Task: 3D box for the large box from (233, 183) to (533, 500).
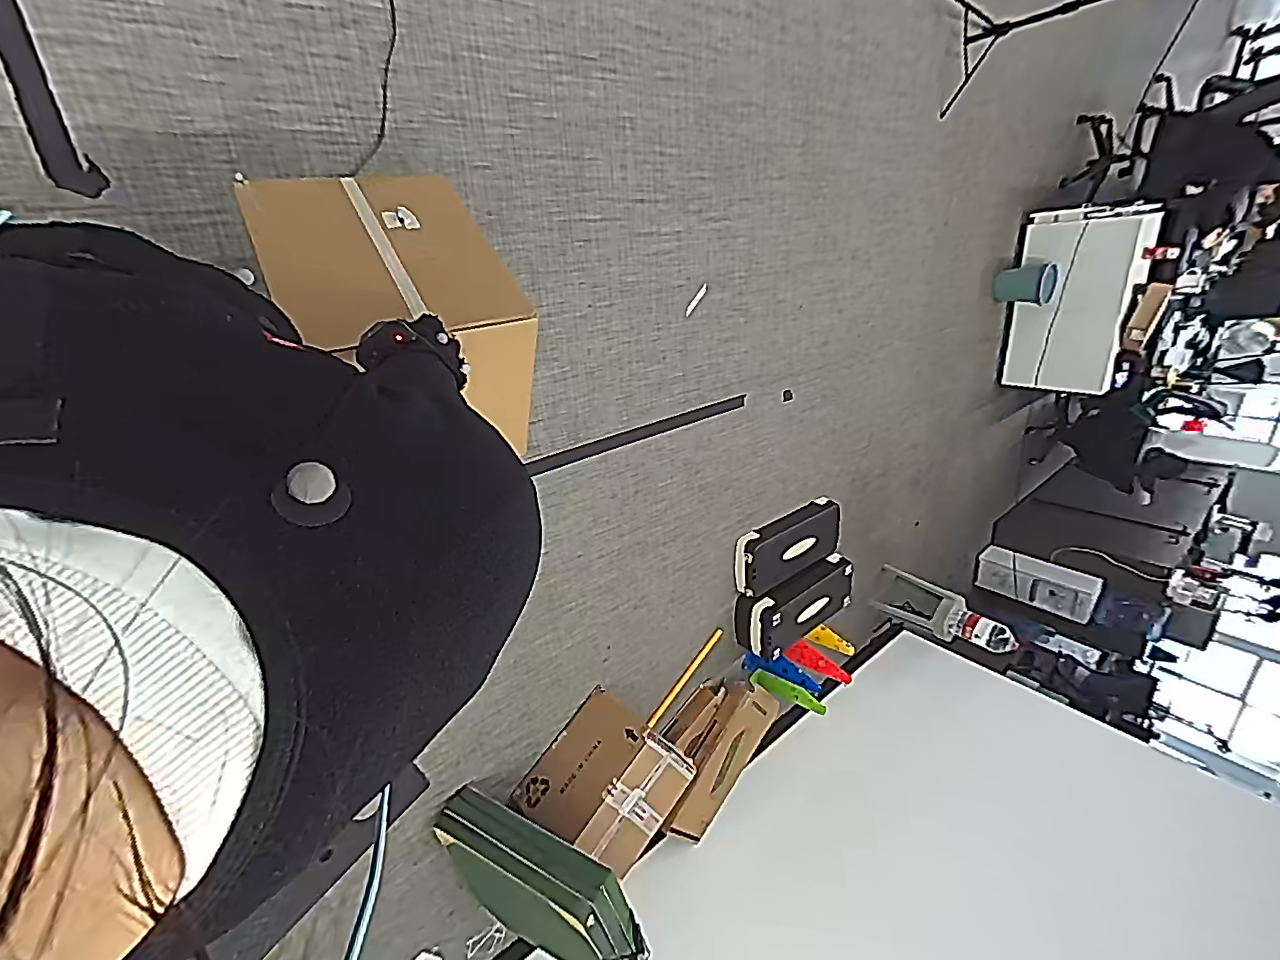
[{"bbox_3d":[-0.414,-0.242,0.914,0.320,0.408,0.320,-20,150,-29],"label":"large box"}]
